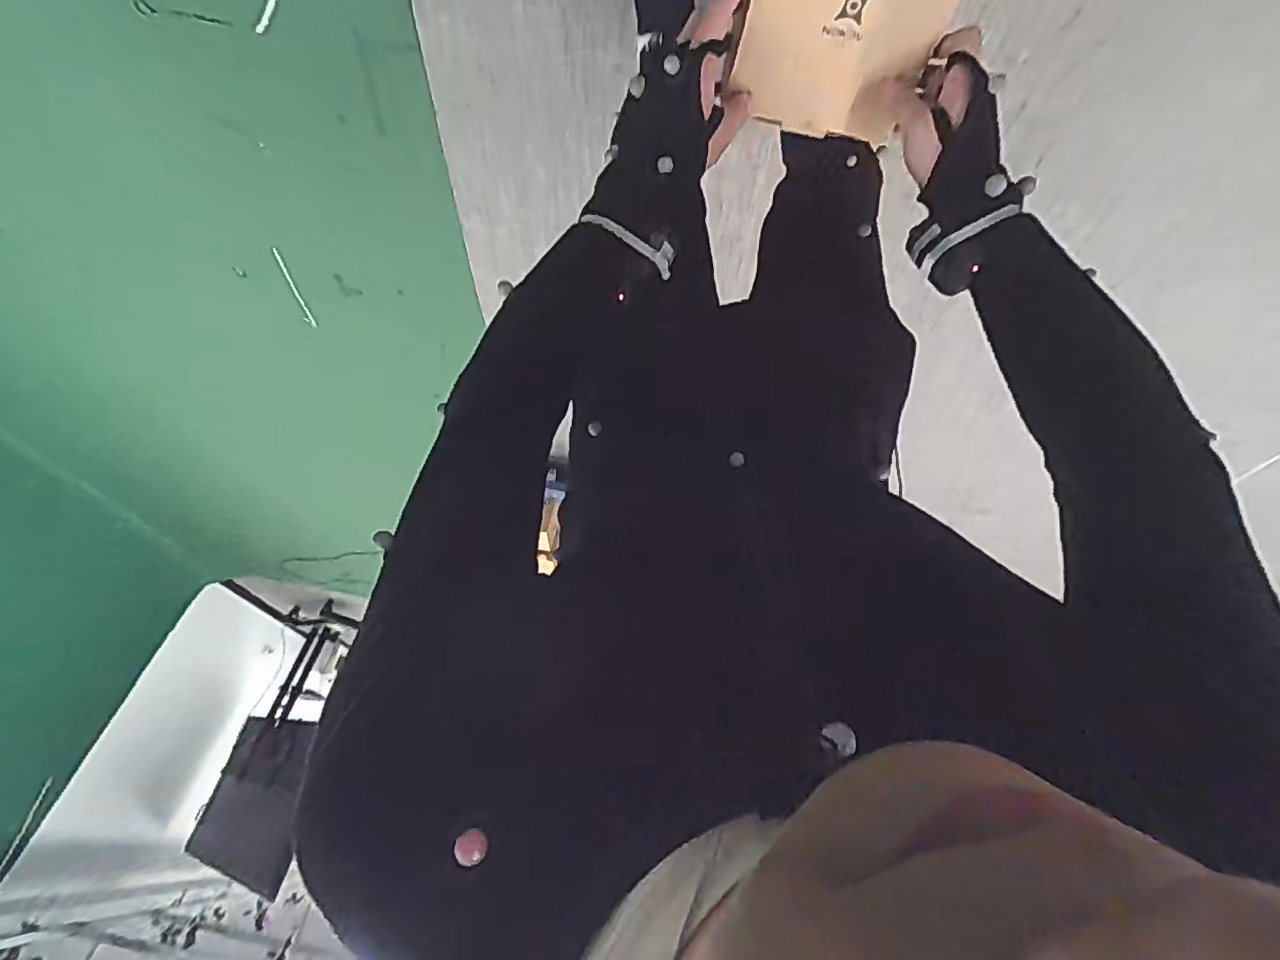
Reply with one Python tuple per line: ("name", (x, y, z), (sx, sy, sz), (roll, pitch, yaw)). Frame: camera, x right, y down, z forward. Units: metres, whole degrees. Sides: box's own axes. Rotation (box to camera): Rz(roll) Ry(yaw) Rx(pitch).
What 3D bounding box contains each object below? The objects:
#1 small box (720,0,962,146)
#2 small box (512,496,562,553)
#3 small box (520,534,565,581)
("small box", (0.176, -0.449, 0.487), (0.168, 0.176, 0.179), (7, 151, -7))
("small box", (-0.439, 0.189, 2.321), (0.168, 0.176, 0.179), (10, 147, 3))
("small box", (-0.450, 0.352, 2.531), (0.168, 0.176, 0.179), (9, 146, 2))
